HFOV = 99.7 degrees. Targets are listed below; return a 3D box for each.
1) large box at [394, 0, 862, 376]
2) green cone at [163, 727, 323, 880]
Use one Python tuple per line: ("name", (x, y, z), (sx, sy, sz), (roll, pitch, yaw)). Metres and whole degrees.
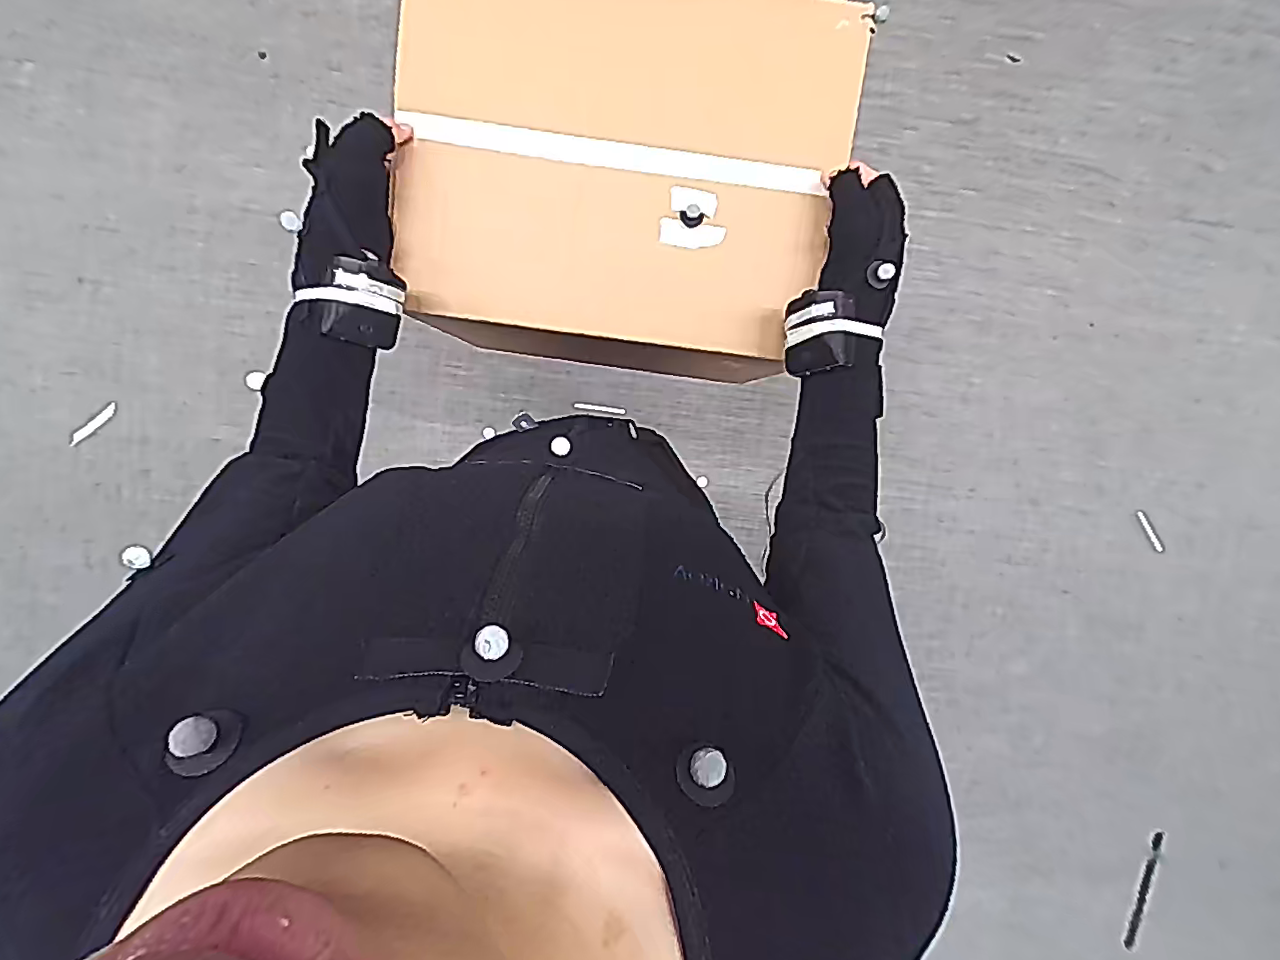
("large box", (-0.021, -0.309, 0.635), (0.408, 0.320, 0.320), (7, 97, -3))
("green cone", (-1.027, 0.837, 1.363), (0.202, 0.368, 0.200), (-31, 96, 3))
